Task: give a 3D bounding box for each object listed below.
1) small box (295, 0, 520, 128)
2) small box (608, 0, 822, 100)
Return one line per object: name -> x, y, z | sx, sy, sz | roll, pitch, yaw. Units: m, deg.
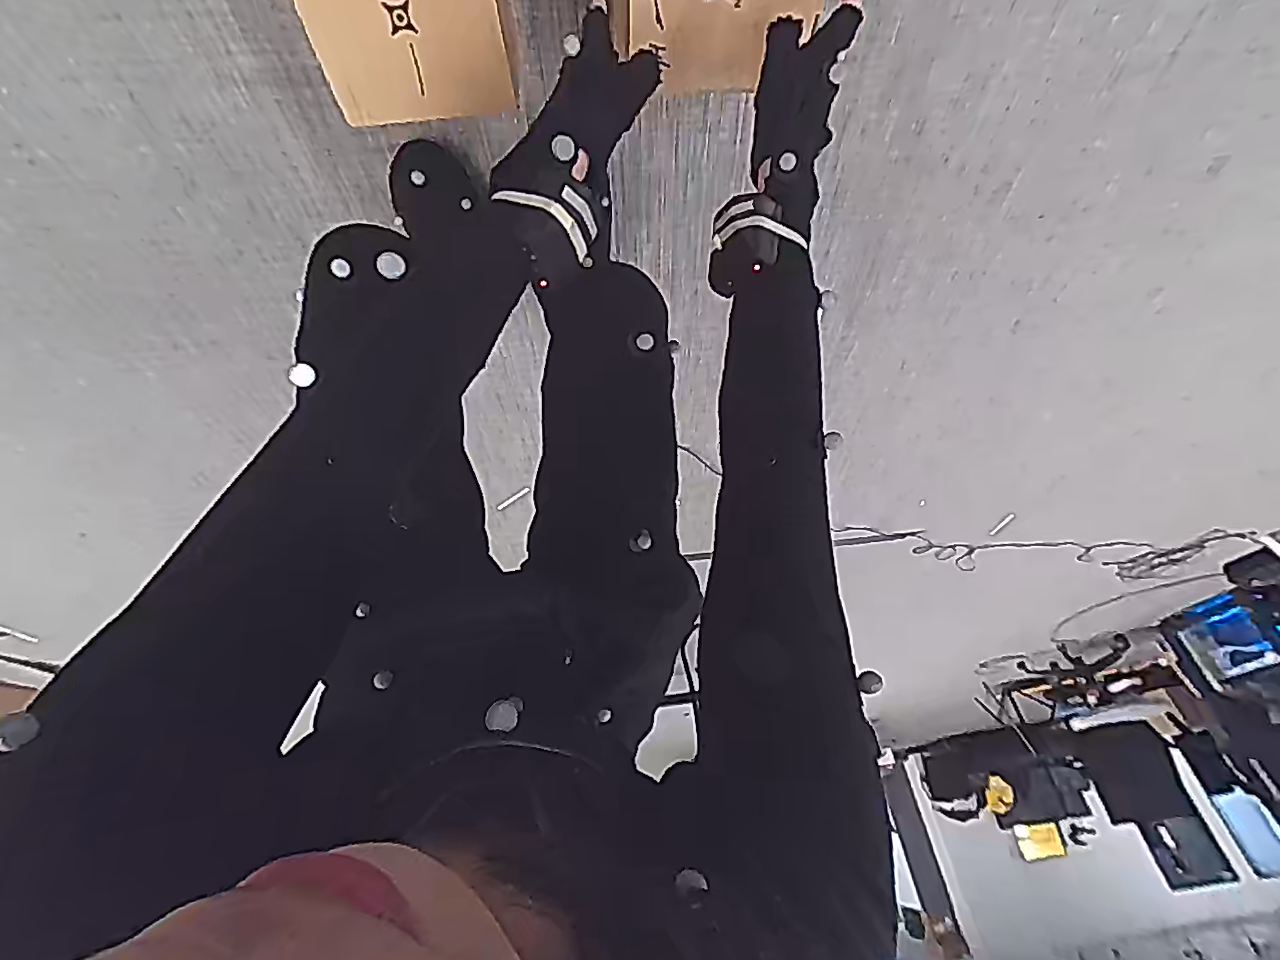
small box -> -0.209, -0.458, 0.494 | 0.168, 0.176, 0.179 | -6, 146, -2
small box -> 0.066, -0.488, 0.510 | 0.179, 0.176, 0.168 | -5, 146, -6
